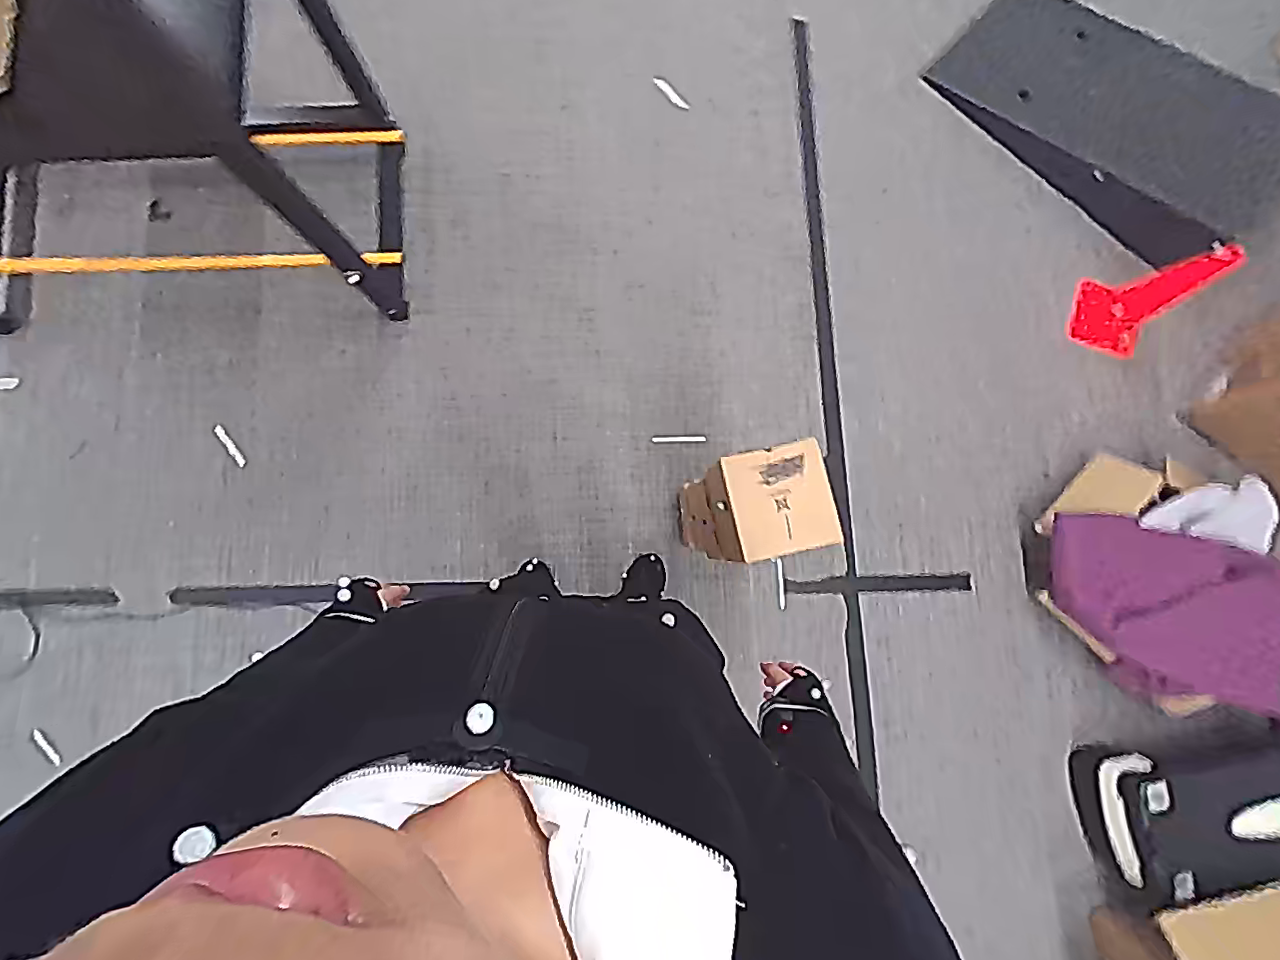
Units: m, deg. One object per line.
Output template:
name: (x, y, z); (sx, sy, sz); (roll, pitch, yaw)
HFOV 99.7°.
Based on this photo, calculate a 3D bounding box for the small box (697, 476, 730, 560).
small box: (0.218, 0.070, 1.110); (0.179, 0.176, 0.168); (-11, 82, -2)

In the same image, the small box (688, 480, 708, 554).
small box: (0.218, 0.079, 1.274); (0.179, 0.176, 0.168); (-10, 82, -2)

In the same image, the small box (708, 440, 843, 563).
small box: (0.225, 0.045, 0.946); (0.168, 0.176, 0.179); (-12, 83, -3)

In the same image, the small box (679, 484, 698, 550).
small box: (0.203, 0.097, 1.437); (0.179, 0.176, 0.168); (-5, 82, 0)
